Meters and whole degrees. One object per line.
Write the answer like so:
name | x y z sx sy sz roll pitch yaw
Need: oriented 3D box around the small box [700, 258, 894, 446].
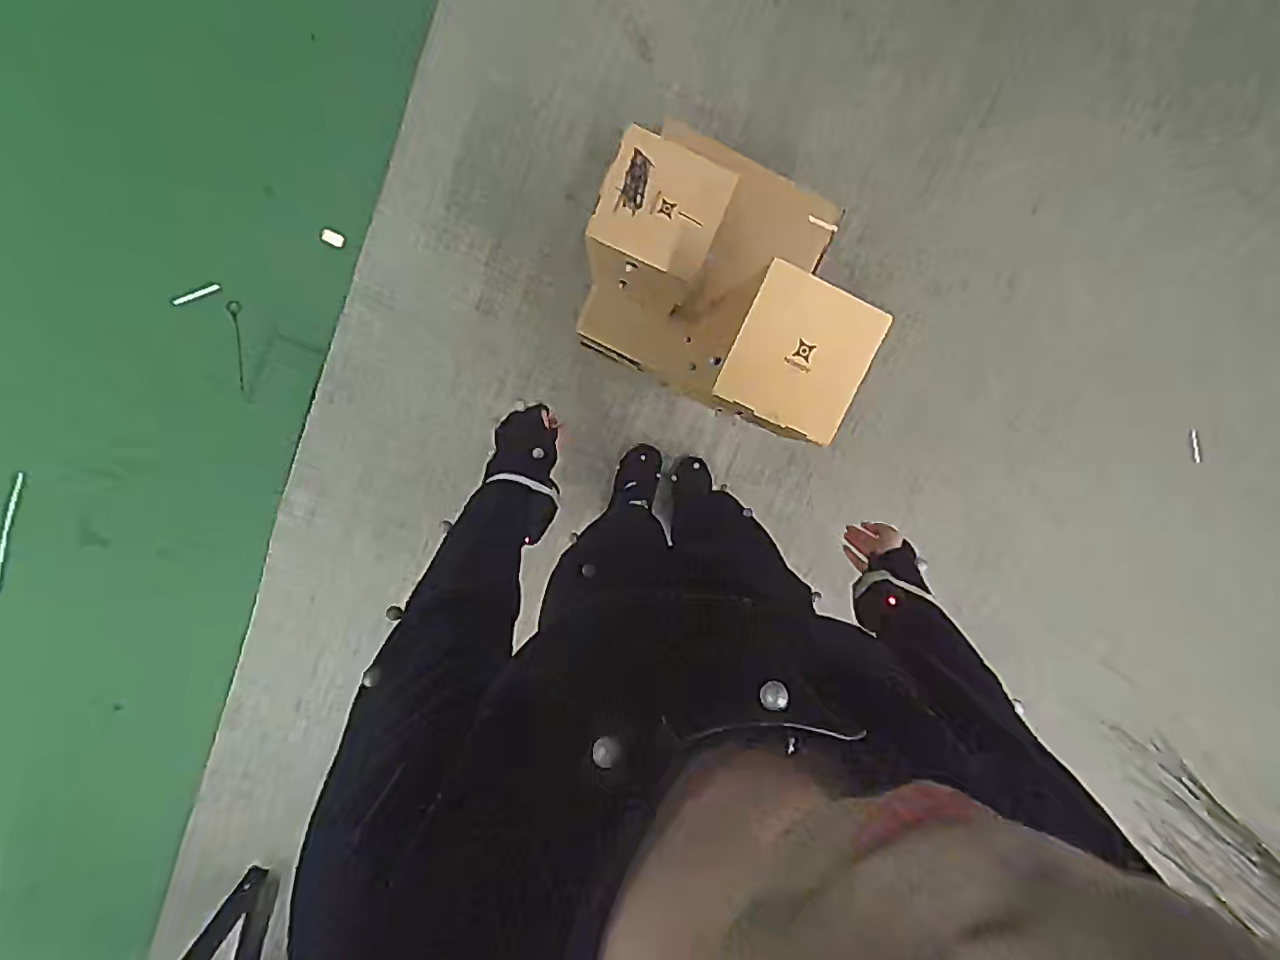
small box | 0.194 -0.164 0.729 0.168 0.176 0.179 23 98 -6

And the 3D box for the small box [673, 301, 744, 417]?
small box | 0.178 -0.225 1.050 0.179 0.176 0.168 22 96 -6

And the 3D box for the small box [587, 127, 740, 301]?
small box | 0.031 -0.400 0.850 0.179 0.176 0.168 22 97 -4

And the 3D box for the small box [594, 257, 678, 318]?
small box | 0.021 -0.428 1.013 0.168 0.176 0.179 23 96 -5
